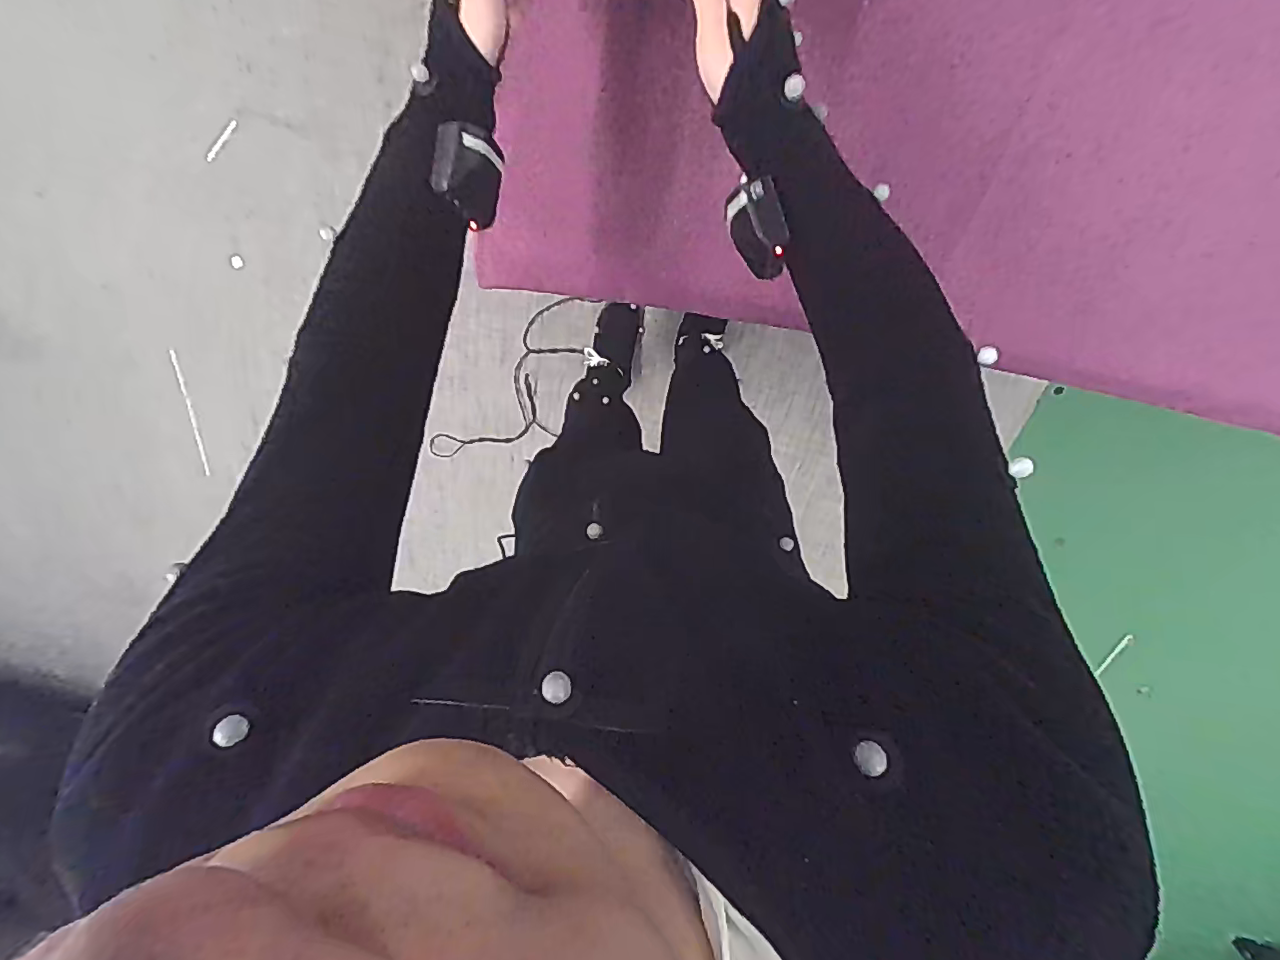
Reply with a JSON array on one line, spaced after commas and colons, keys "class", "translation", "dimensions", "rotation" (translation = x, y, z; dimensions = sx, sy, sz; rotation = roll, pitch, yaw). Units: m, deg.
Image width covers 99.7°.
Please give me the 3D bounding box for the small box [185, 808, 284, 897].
[{"class": "small box", "translation": [-1.311, 1.210, 1.759], "dimensions": [0.179, 0.176, 0.168], "rotation": [-37, 110, 25]}]
